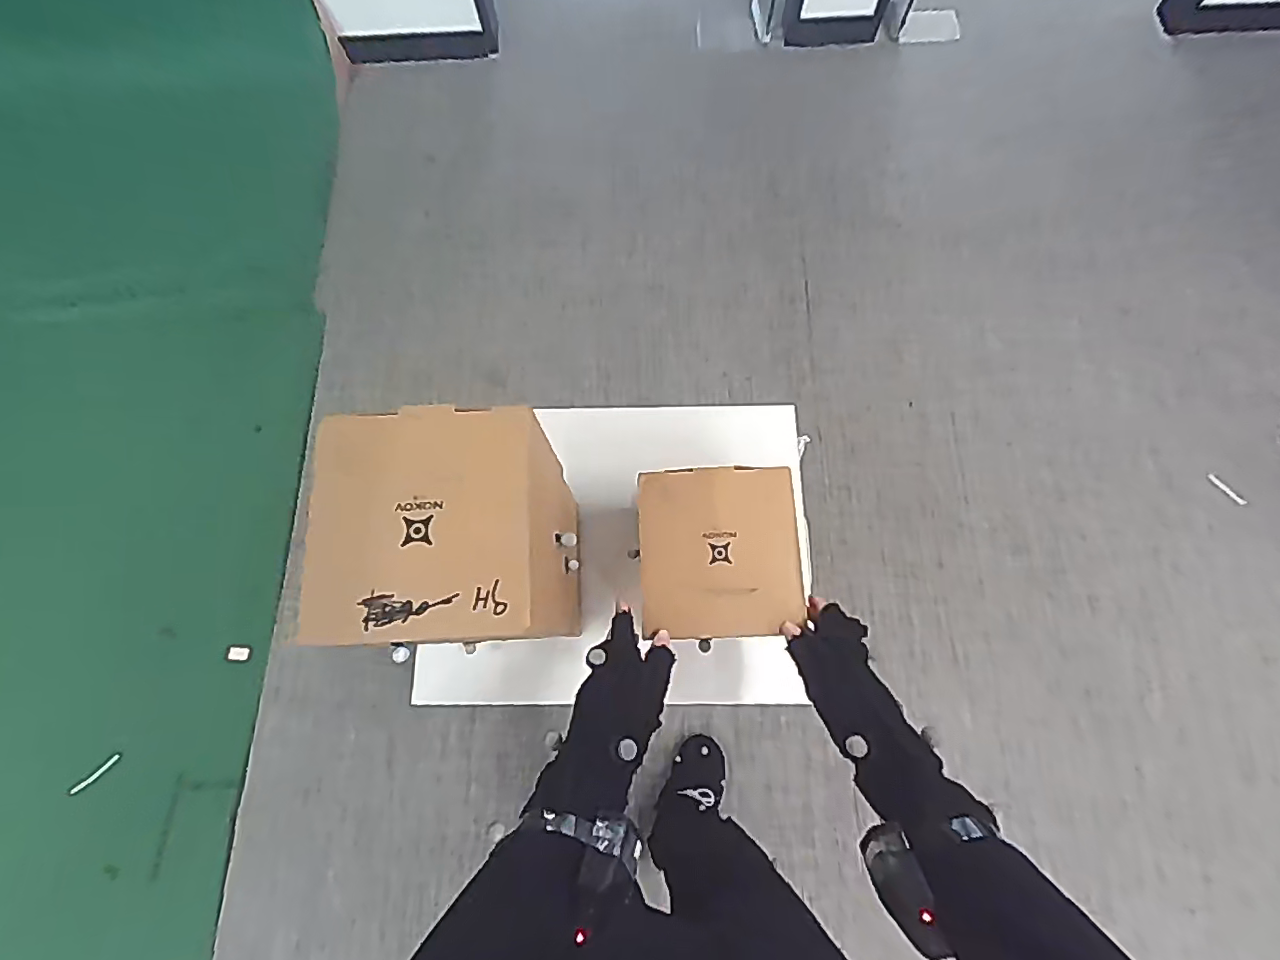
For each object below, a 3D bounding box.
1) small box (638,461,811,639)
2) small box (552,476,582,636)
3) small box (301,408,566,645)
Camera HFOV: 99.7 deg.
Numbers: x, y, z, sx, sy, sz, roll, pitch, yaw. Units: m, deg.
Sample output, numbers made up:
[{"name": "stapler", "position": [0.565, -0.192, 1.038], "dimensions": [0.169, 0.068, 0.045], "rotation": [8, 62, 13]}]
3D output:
[{"name": "small box", "position": [0.084, 0.088, 0.620], "dimensions": [0.168, 0.176, 0.179], "rotation": [-4, 76, 2]}, {"name": "small box", "position": [-0.161, 0.097, 0.640], "dimensions": [0.168, 0.176, 0.179], "rotation": [-4, 73, 1]}, {"name": "small box", "position": [-0.162, 0.052, 0.484], "dimensions": [0.168, 0.176, 0.179], "rotation": [-4, 73, 1]}]
